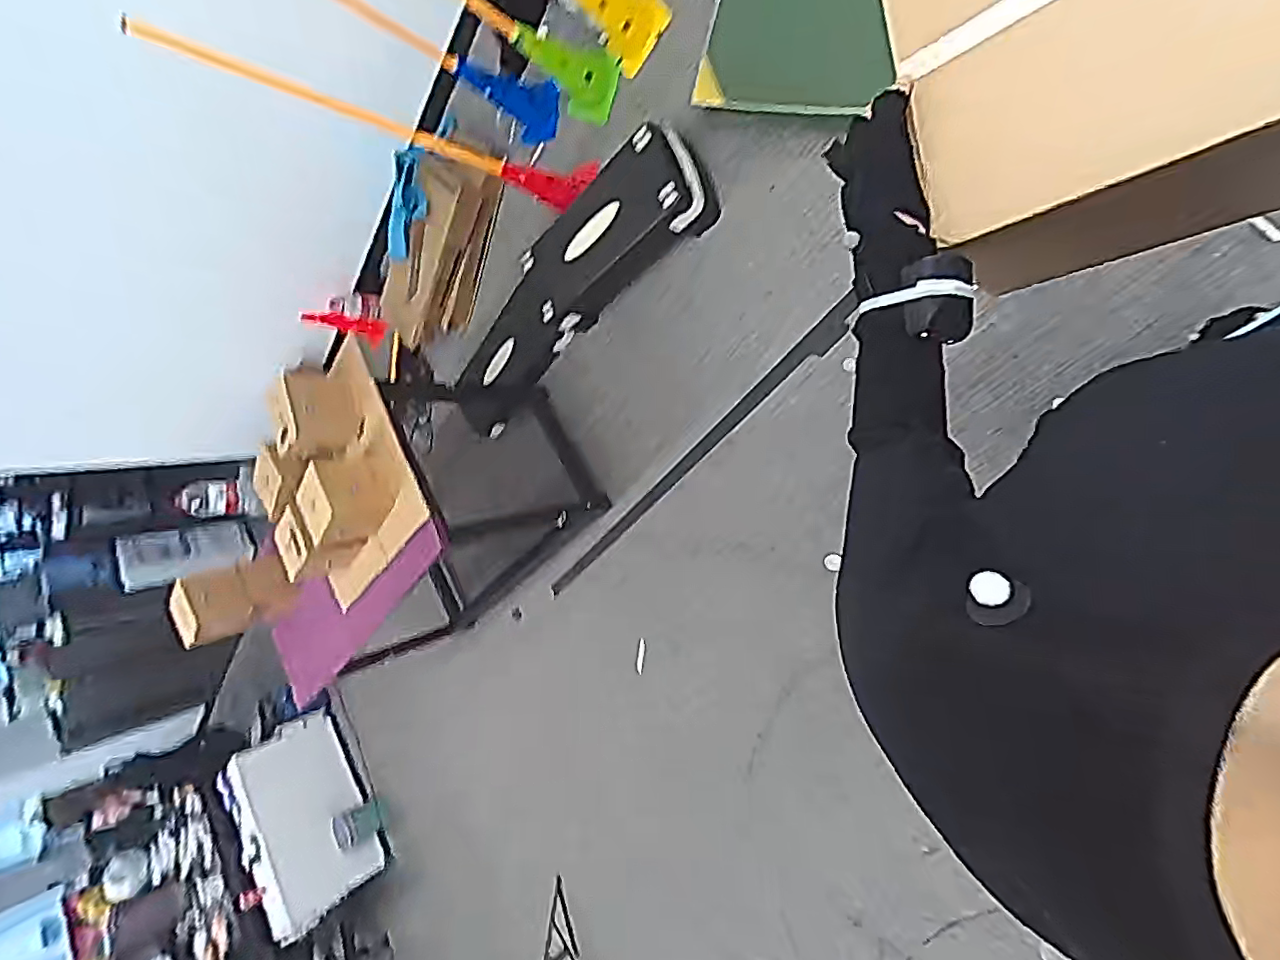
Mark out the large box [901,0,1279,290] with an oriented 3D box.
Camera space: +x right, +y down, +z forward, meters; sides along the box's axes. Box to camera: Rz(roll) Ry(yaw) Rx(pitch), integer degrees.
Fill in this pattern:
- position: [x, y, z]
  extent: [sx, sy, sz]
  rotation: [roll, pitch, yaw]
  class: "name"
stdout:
- position: [0.490, -0.405, 0.467]
  extent: [0.408, 0.320, 0.320]
  rotation: [-10, 91, 41]
  class: "large box"
